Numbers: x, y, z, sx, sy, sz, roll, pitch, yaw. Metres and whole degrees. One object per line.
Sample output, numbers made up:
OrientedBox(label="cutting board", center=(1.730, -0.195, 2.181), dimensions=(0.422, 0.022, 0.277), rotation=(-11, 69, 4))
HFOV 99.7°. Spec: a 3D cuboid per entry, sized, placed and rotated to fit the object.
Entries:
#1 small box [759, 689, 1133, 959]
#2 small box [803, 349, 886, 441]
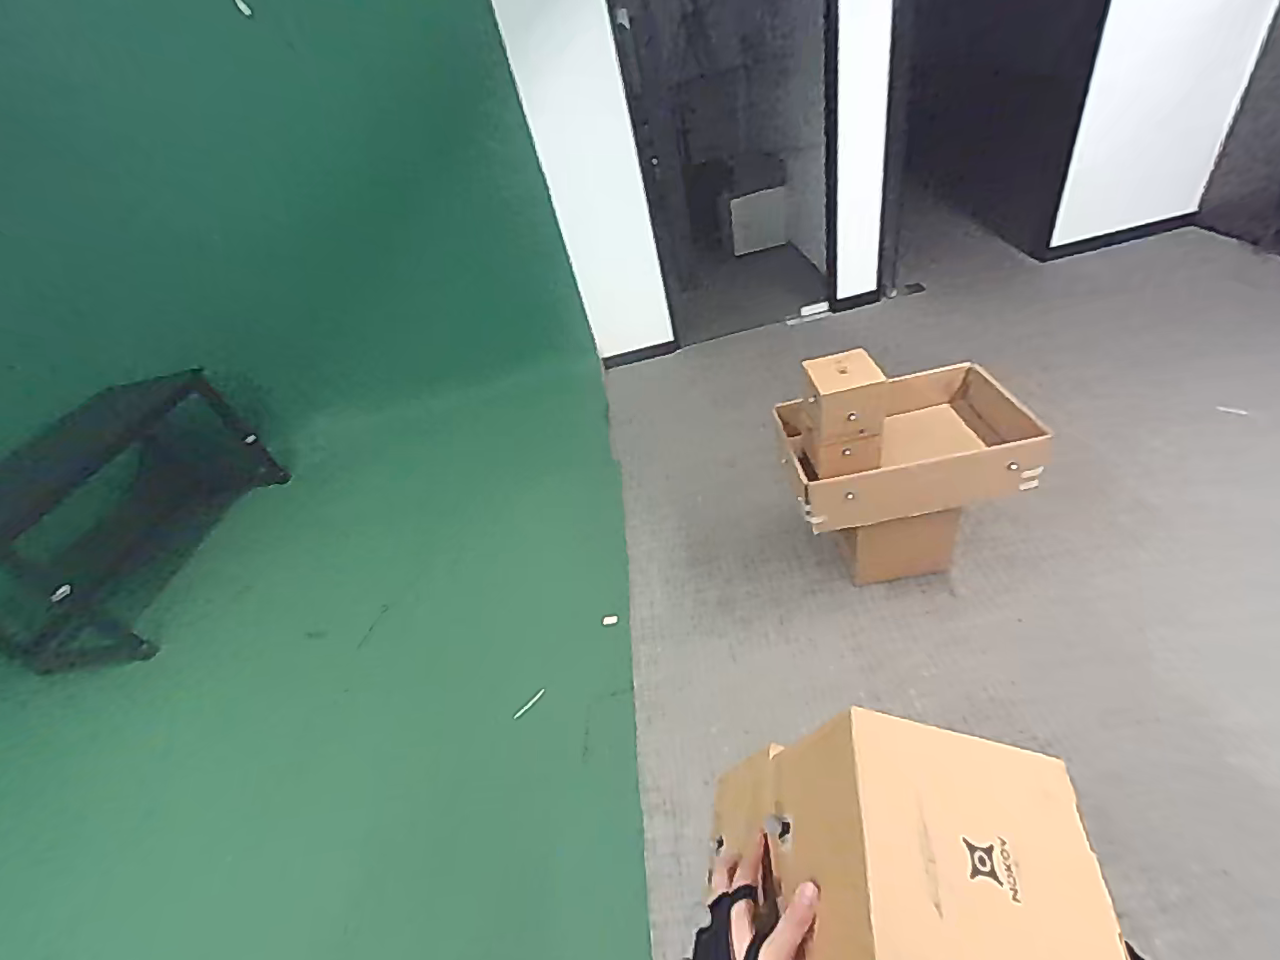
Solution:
OrientedBox(label="small box", center=(0.207, 0.287, 0.411), dimensions=(0.179, 0.176, 0.168), rotation=(16, 48, -2))
OrientedBox(label="small box", center=(0.546, -0.221, 1.453), dimensions=(0.168, 0.176, 0.179), rotation=(-12, 39, 7))
